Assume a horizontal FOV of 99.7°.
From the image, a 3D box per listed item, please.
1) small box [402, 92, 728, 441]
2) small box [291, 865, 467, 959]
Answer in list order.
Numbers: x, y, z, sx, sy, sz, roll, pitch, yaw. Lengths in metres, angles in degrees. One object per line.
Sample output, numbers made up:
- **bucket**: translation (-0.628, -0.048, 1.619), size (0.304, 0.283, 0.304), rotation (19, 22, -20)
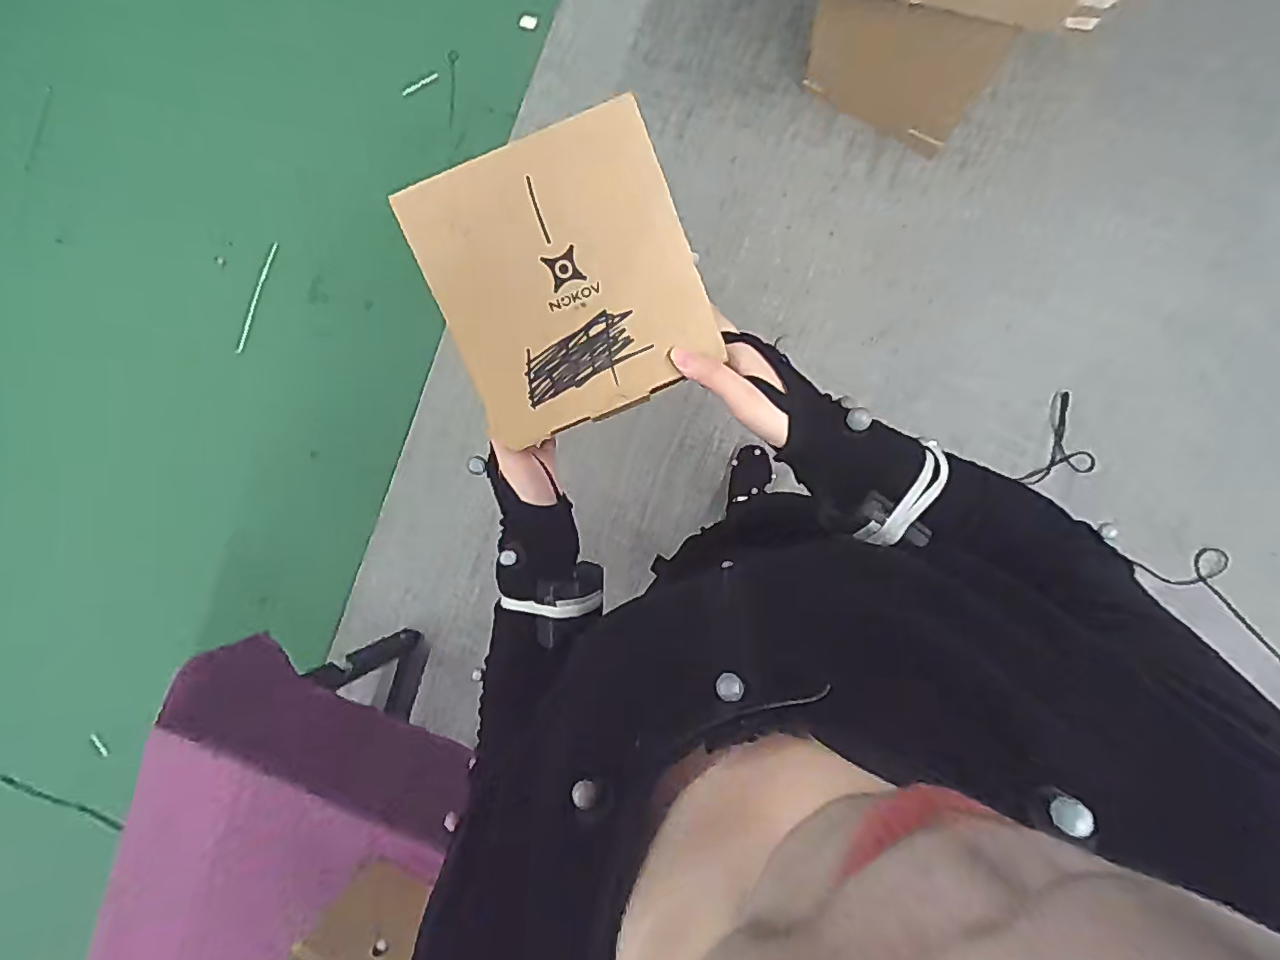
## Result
- **small box**: translation (-0.049, -0.151, 0.431), size (0.168, 0.176, 0.179), rotation (-22, 103, 0)
- **small box**: translation (-0.373, 0.696, 0.760), size (0.179, 0.176, 0.168), rotation (19, 92, 8)
